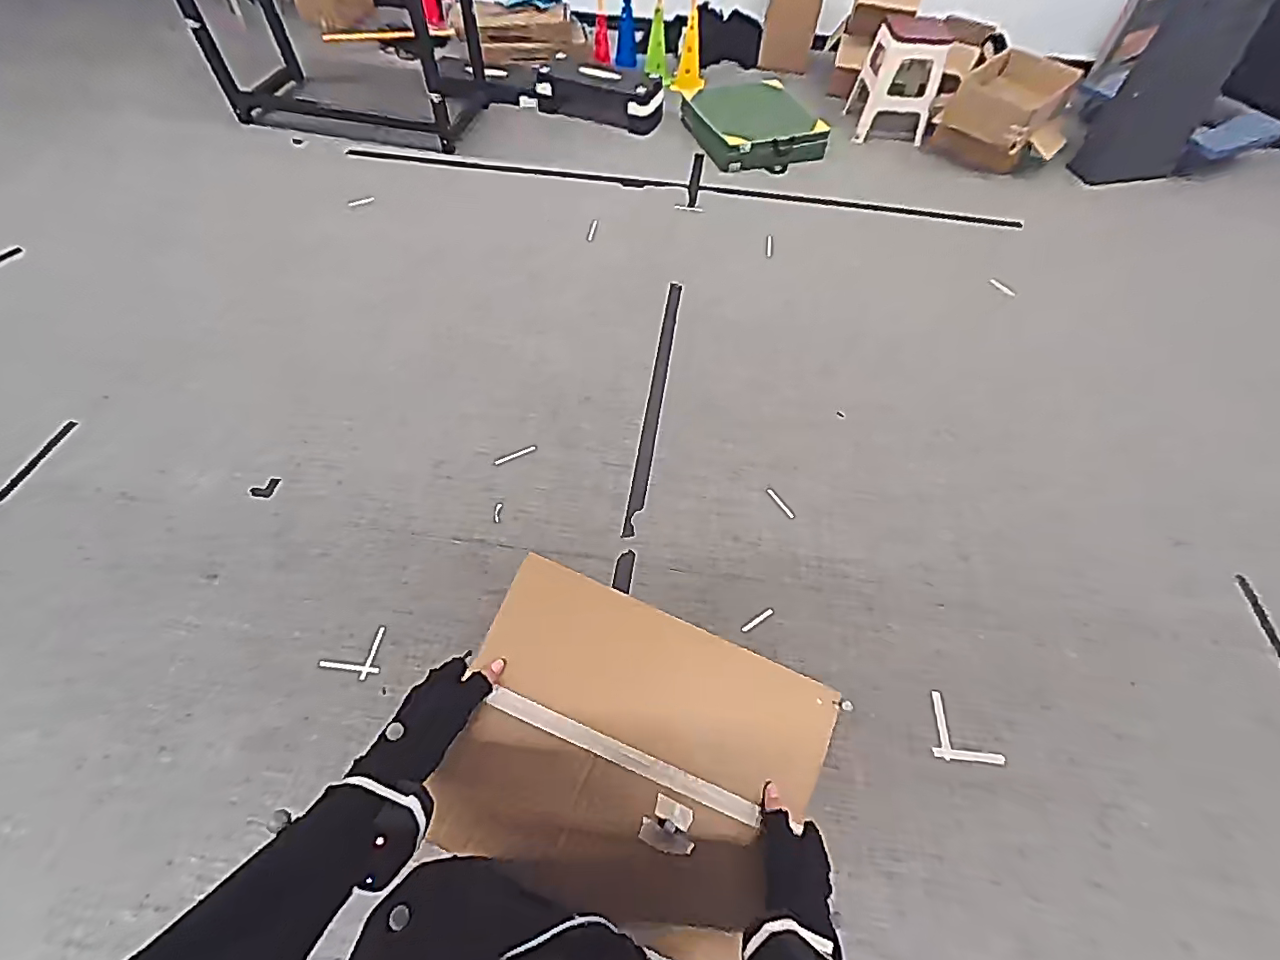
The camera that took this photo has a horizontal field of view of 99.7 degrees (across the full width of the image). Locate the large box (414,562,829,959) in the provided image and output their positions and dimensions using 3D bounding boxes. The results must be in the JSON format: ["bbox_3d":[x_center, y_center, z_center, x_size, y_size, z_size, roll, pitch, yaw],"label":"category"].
[{"bbox_3d":[-0.021,0.344,0.761,0.408,0.320,0.320,23,76,2],"label":"large box"}]
